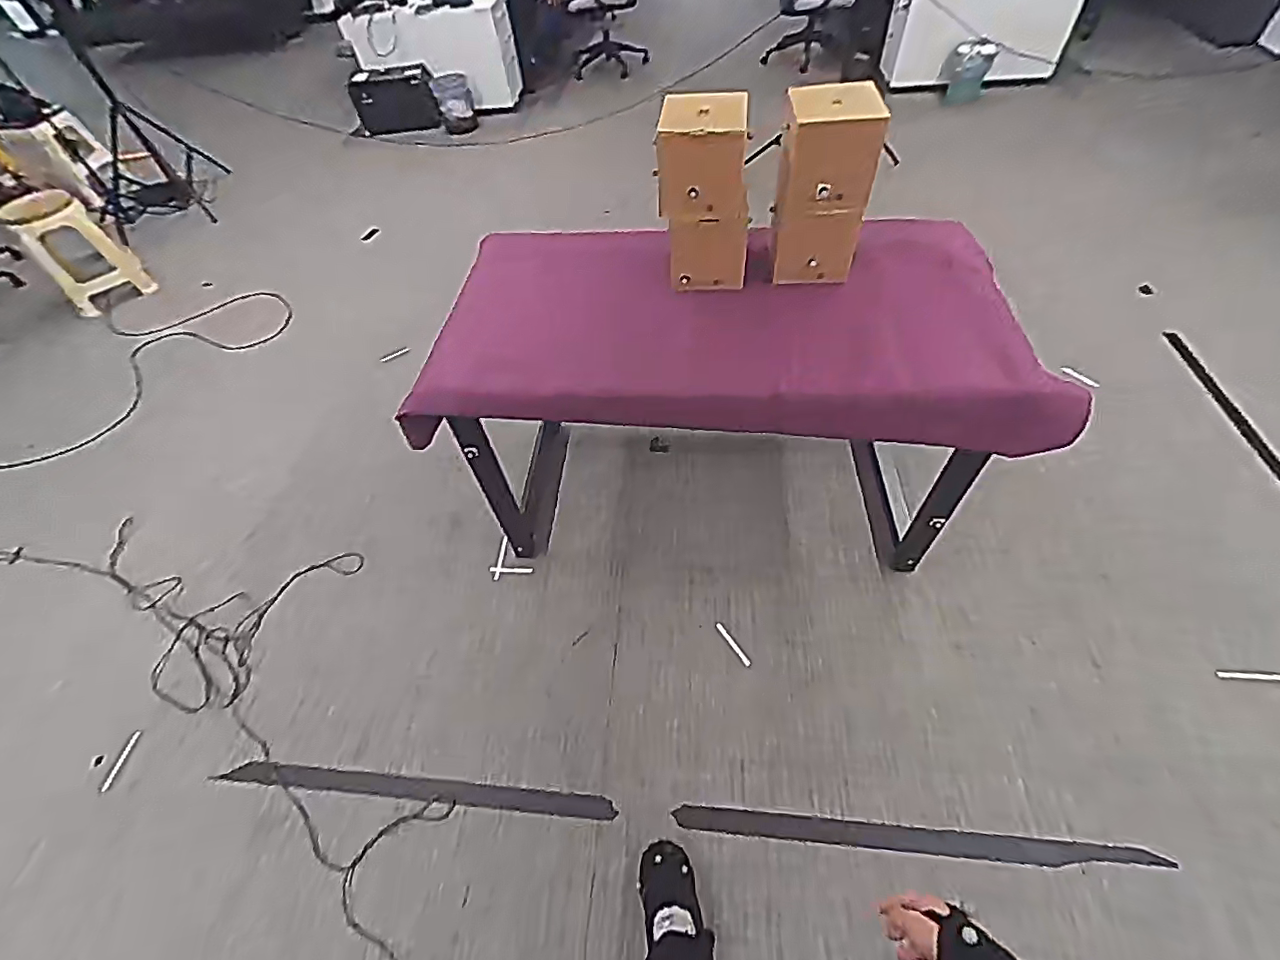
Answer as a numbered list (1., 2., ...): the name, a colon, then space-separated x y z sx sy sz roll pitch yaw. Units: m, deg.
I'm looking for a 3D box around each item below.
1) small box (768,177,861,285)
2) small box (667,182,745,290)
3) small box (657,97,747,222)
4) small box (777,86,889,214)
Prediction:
1. small box: 0.382 -0.562 1.219 0.168 0.176 0.179 1 54 7
2. small box: 0.151 -0.551 1.231 0.168 0.176 0.179 1 53 6
3. small box: 0.126 -0.653 1.106 0.168 0.176 0.179 3 55 7
4. small box: 0.376 -0.663 1.091 0.168 0.176 0.179 -1 54 5
